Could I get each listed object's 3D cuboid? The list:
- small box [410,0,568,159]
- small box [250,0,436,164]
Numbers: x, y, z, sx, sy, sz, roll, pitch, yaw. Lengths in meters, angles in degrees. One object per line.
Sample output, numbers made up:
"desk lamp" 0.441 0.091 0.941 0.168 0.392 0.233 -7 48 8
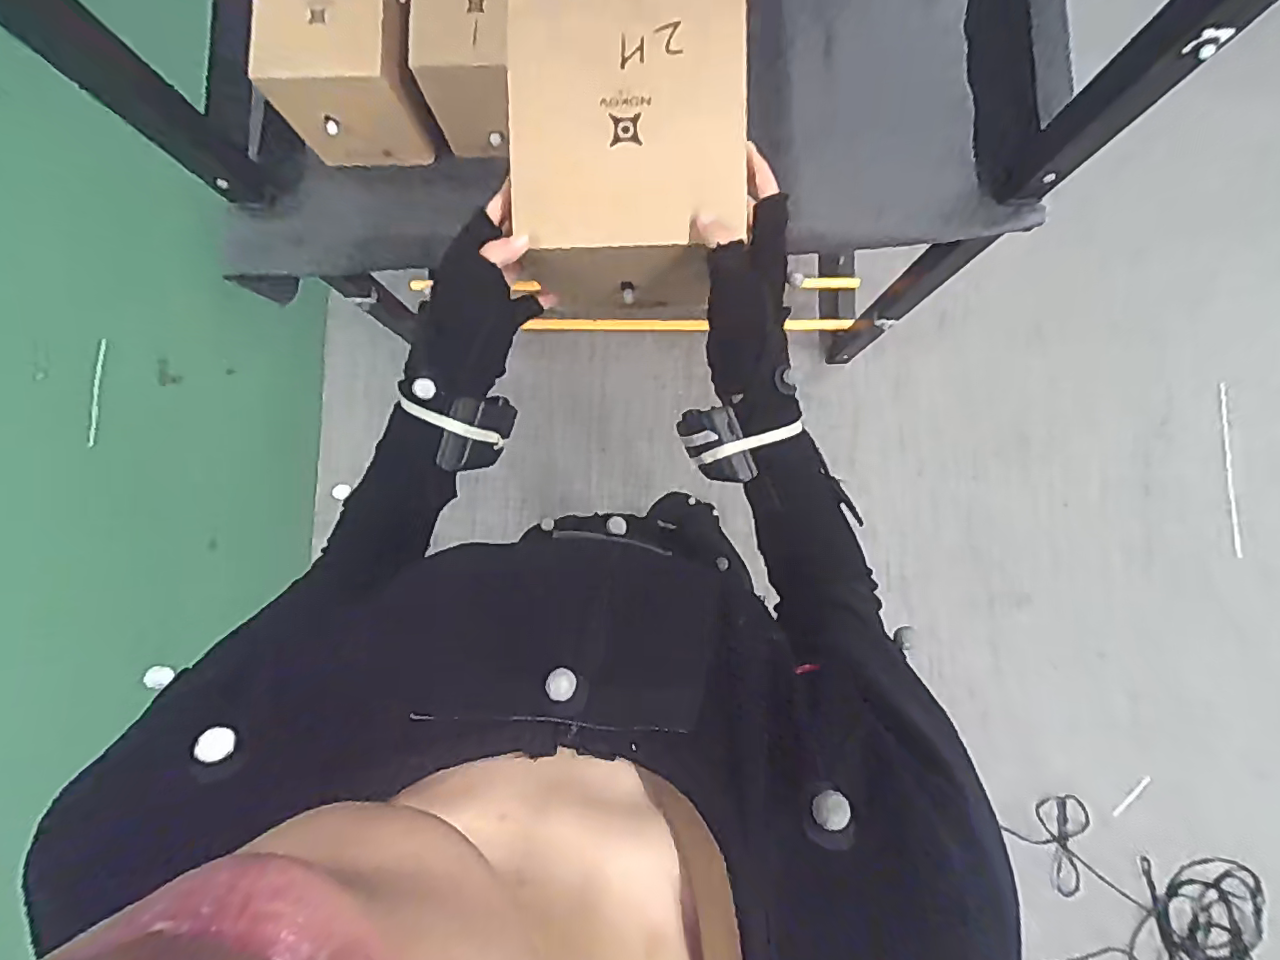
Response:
"small box" -0.194 -0.578 0.739 0.168 0.176 0.179 0 85 2
"small box" -0.391 -0.564 0.742 0.168 0.176 0.179 0 84 1
